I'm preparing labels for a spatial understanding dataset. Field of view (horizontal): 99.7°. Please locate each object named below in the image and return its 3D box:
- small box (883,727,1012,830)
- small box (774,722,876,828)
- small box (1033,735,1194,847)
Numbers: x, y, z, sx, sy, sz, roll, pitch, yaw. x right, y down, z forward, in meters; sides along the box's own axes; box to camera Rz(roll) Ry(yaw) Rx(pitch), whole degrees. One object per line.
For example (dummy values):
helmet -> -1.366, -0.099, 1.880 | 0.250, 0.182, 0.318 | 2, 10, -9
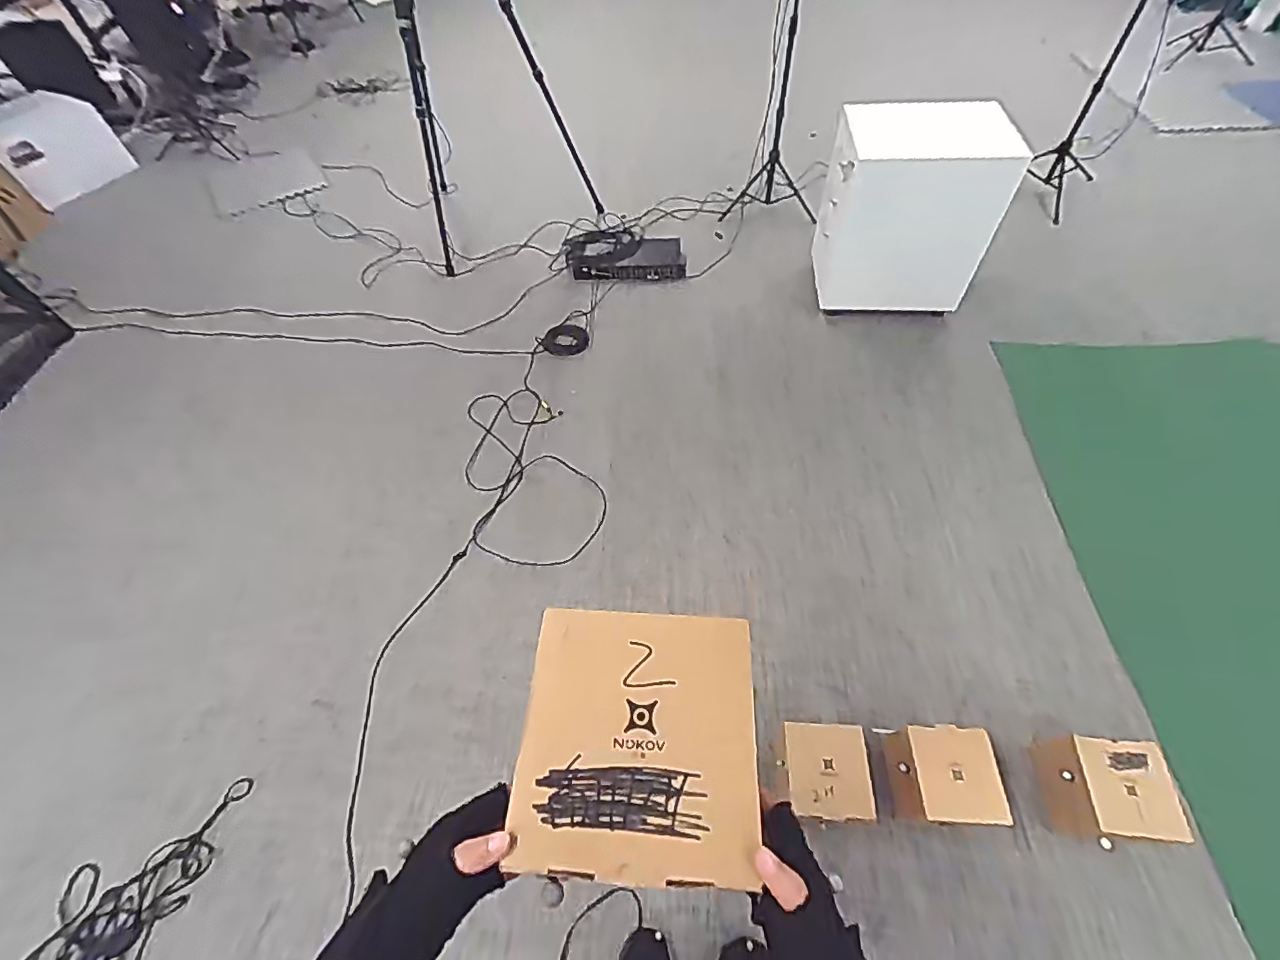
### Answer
small box -> 0.644, 0.642, 1.157 | 0.168, 0.176, 0.179 | 0, 54, 3
small box -> 0.388, 0.640, 1.169 | 0.168, 0.176, 0.179 | 1, 55, 5
small box -> 0.968, 0.652, 1.130 | 0.168, 0.176, 0.179 | 3, 56, 6
